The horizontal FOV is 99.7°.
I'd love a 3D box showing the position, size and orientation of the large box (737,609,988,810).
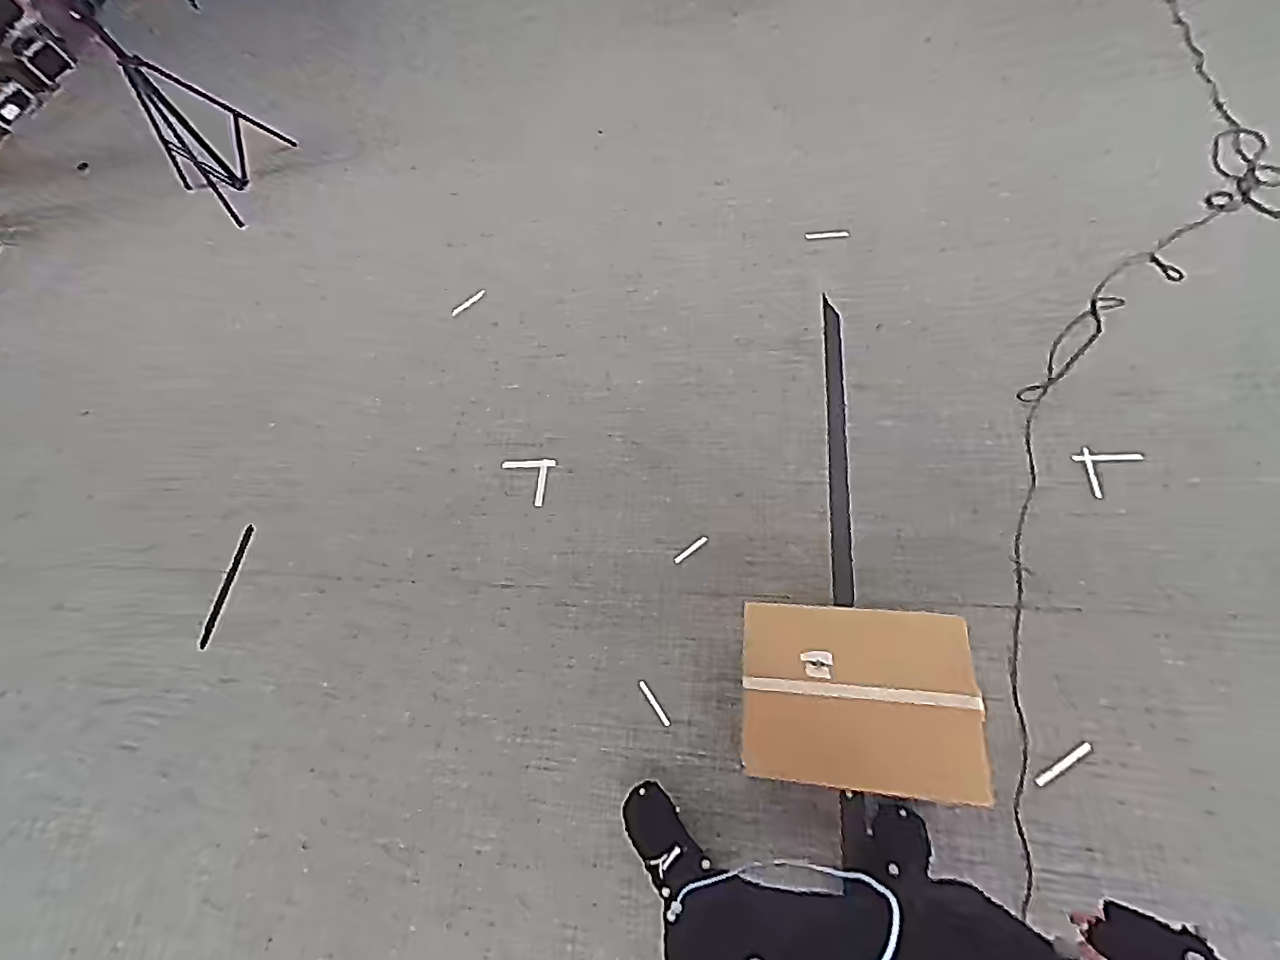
[{"bbox_3d":[0.414,0.459,1.105,0.408,0.320,0.320,0,62,14],"label":"large box"}]
